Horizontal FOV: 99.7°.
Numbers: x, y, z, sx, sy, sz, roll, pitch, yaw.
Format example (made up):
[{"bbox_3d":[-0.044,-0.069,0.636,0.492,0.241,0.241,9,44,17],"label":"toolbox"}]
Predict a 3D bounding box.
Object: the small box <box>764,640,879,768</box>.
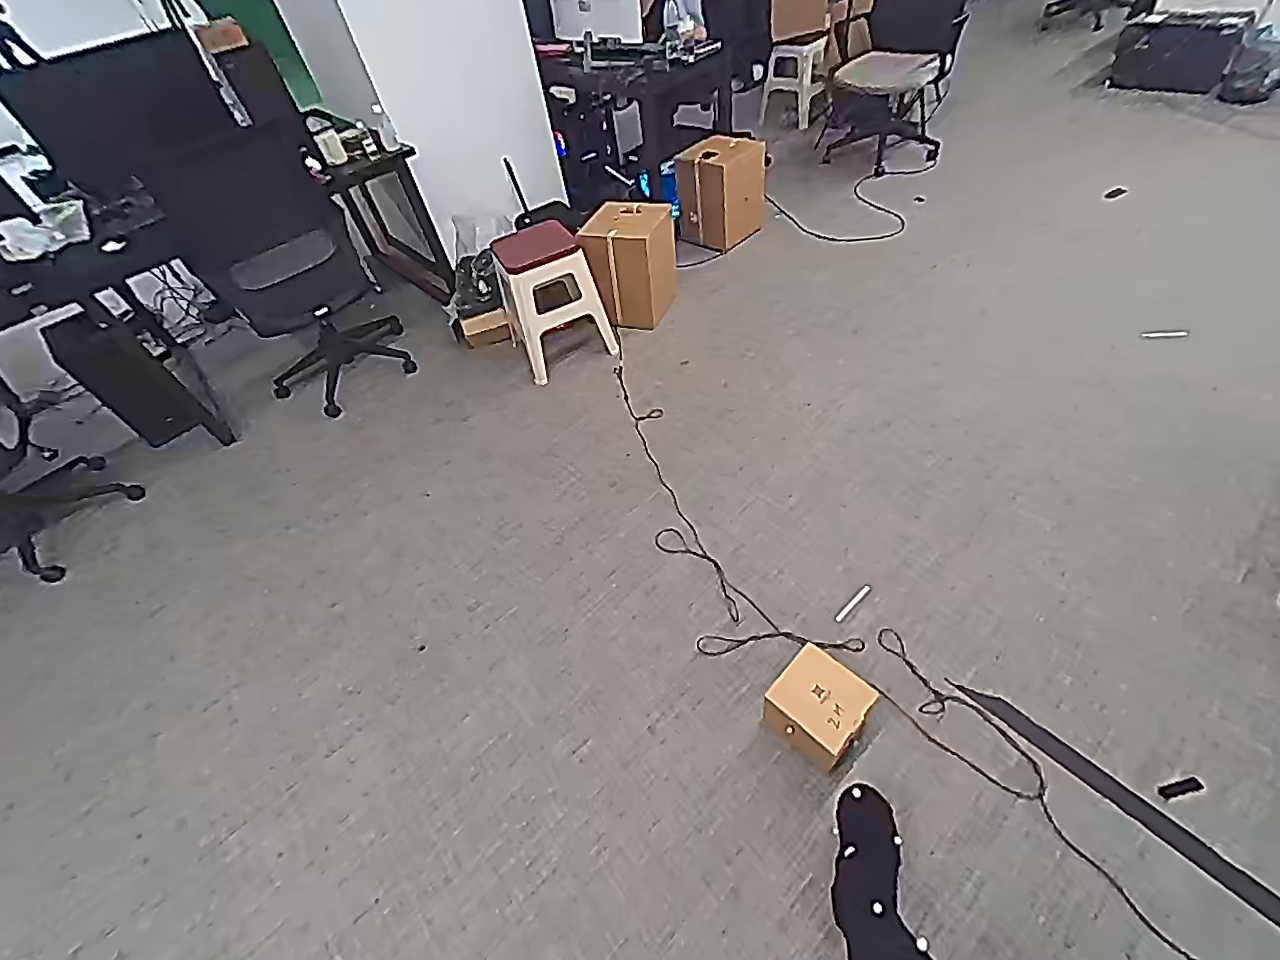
[{"bbox_3d":[0.389,0.495,1.189,0.168,0.176,0.179,-41,54,-22],"label":"small box"}]
